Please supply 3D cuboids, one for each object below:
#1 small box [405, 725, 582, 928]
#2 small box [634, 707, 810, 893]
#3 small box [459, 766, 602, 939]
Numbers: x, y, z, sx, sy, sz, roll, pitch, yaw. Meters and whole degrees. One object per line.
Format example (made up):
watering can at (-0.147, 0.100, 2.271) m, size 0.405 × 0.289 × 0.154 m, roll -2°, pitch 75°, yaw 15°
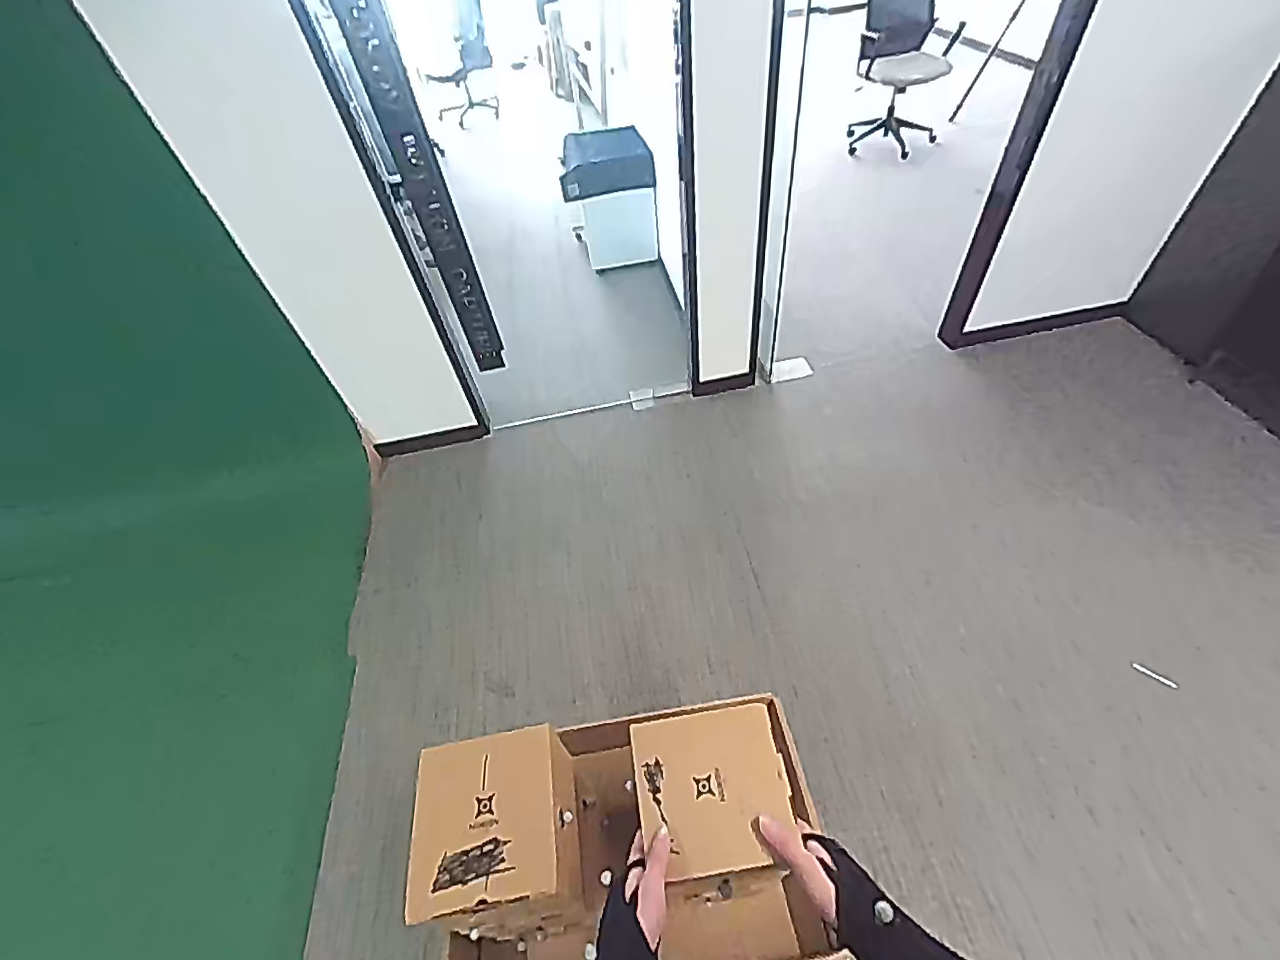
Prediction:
small box at (-0.171, 0.436, 0.676) m, size 0.168 × 0.176 × 0.179 m, roll -10°, pitch 48°, yaw -3°
small box at (0.090, 0.404, 0.680) m, size 0.179 × 0.176 × 0.168 m, roll -8°, pitch 50°, yaw -2°
small box at (-0.152, 0.549, 0.795) m, size 0.168 × 0.176 × 0.179 m, roll -9°, pitch 48°, yaw -1°
